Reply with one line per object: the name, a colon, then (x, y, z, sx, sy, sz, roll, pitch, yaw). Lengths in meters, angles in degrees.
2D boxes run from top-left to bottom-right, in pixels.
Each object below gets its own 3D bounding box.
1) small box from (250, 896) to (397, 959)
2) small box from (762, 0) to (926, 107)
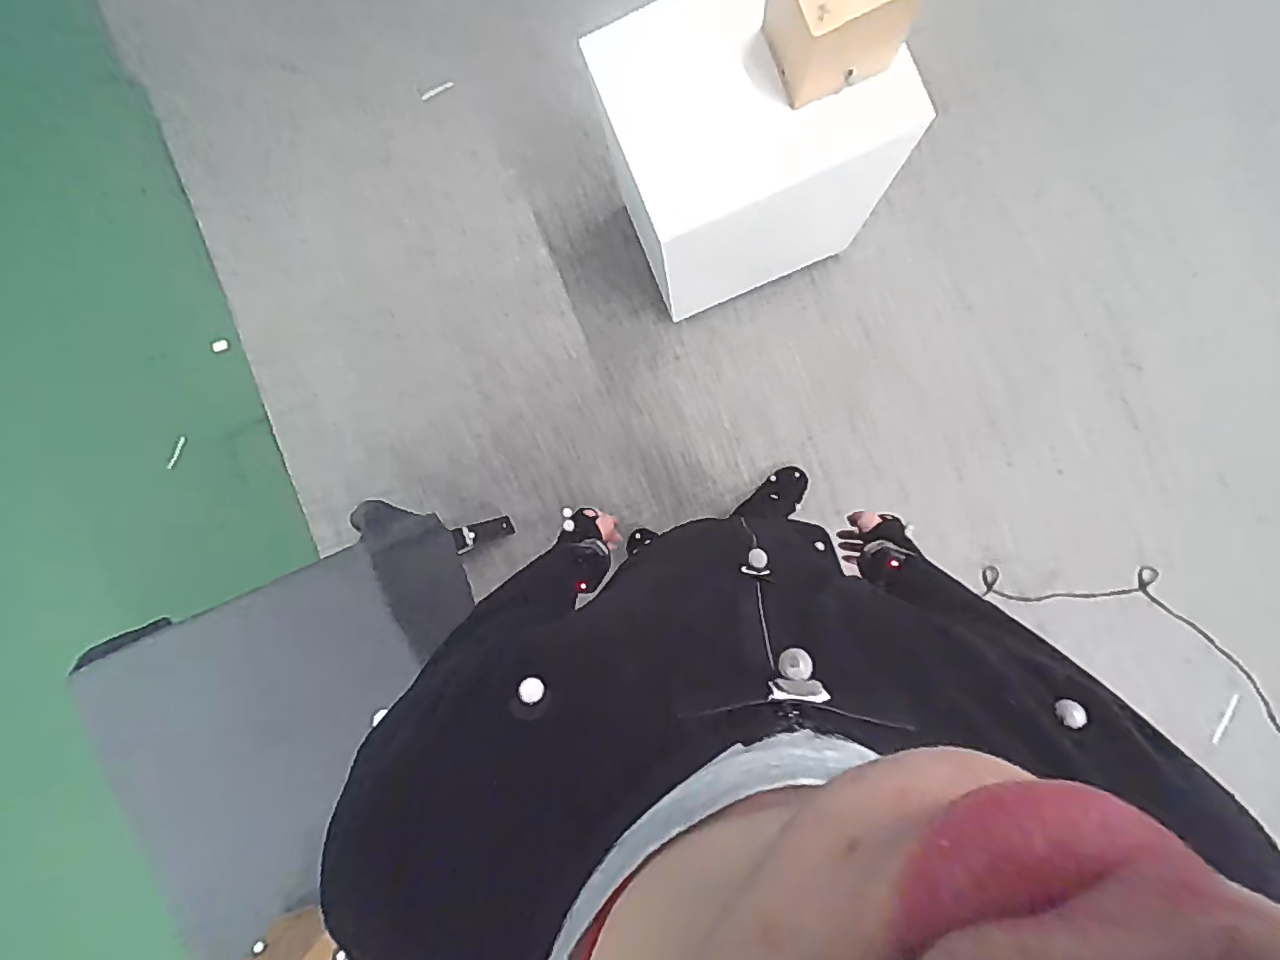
small box: (-0.508, 0.792, 0.835, 0.168, 0.176, 0.179, -24, 91, 7)
small box: (0.309, -0.739, 0.845, 0.179, 0.176, 0.168, -20, 90, 5)
